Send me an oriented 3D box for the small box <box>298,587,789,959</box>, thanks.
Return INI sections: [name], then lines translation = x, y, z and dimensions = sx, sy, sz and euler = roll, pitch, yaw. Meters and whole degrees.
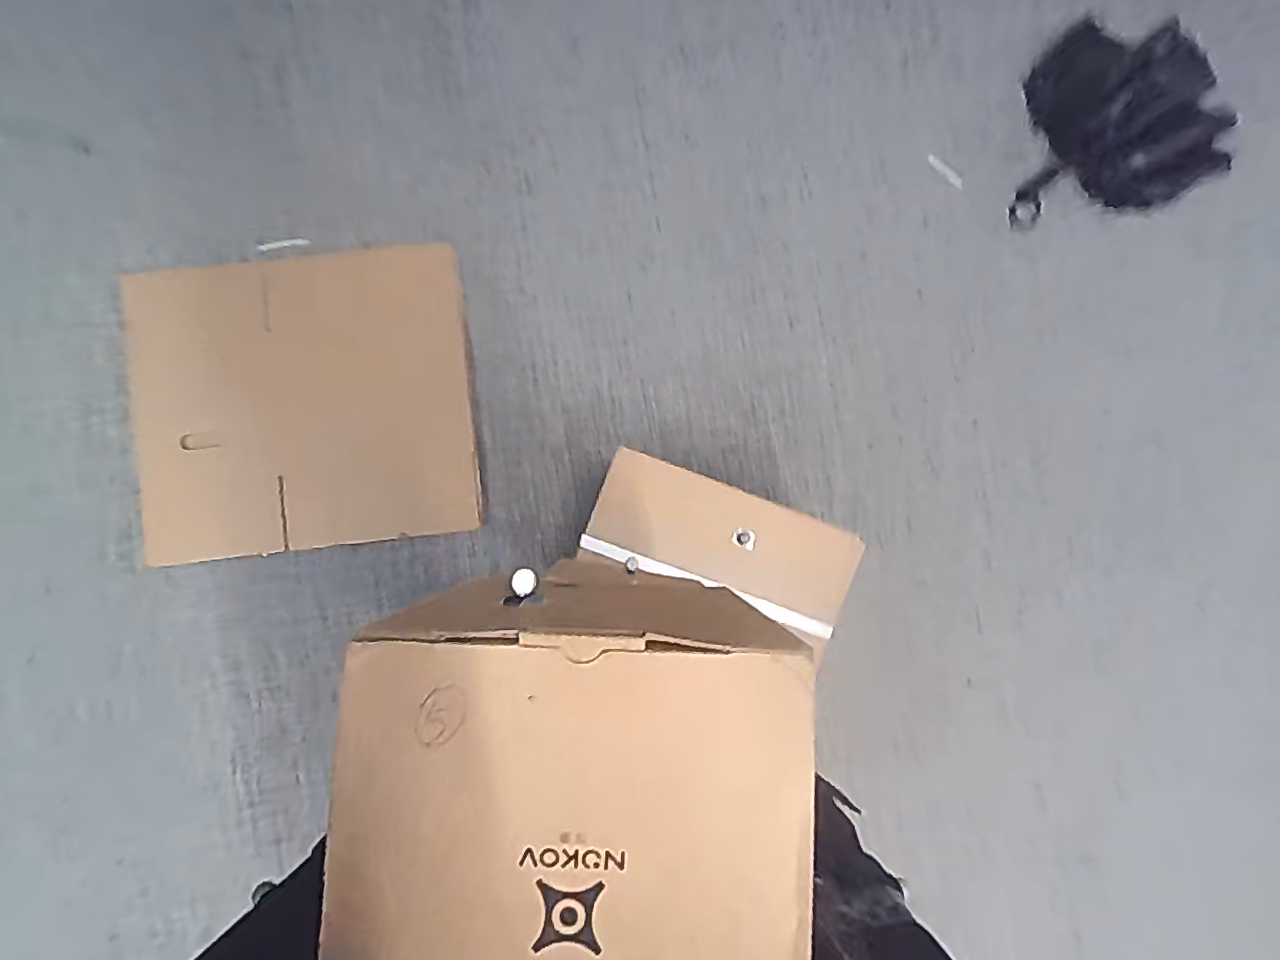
[small box]
translation = -0.032, 0.149, 0.264
dimensions = 0.168, 0.176, 0.179
euler = 2, 86, 0
